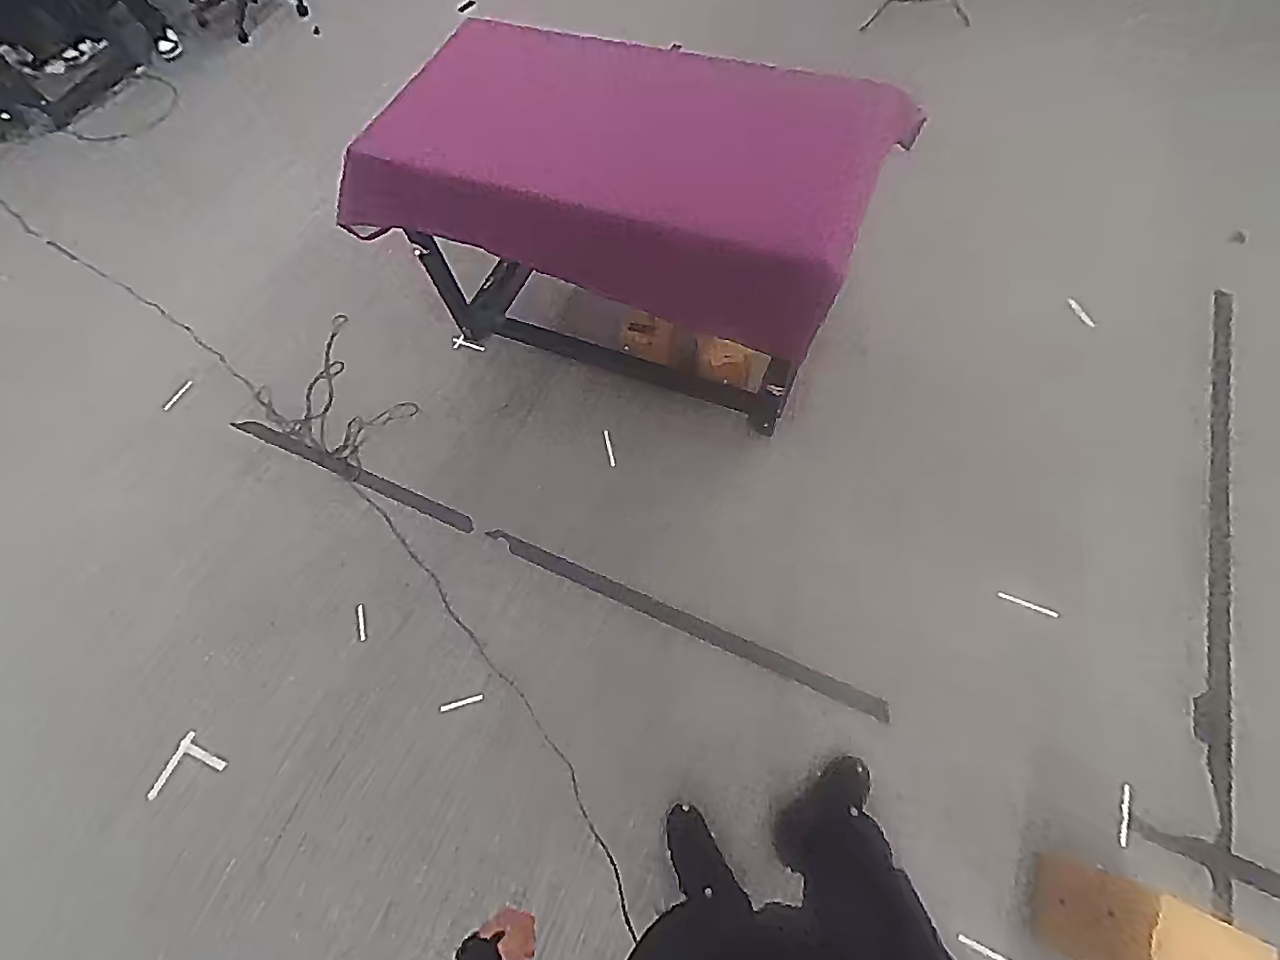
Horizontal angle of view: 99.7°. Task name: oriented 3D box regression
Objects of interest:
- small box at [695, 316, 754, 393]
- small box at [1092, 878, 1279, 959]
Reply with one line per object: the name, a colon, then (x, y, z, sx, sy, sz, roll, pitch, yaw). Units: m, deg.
small box: (0.274, -0.411, 1.786, 0.168, 0.176, 0.179, -7, 64, 3)
small box: (0.959, 0.847, 0.955, 0.179, 0.176, 0.168, 22, 70, 16)
